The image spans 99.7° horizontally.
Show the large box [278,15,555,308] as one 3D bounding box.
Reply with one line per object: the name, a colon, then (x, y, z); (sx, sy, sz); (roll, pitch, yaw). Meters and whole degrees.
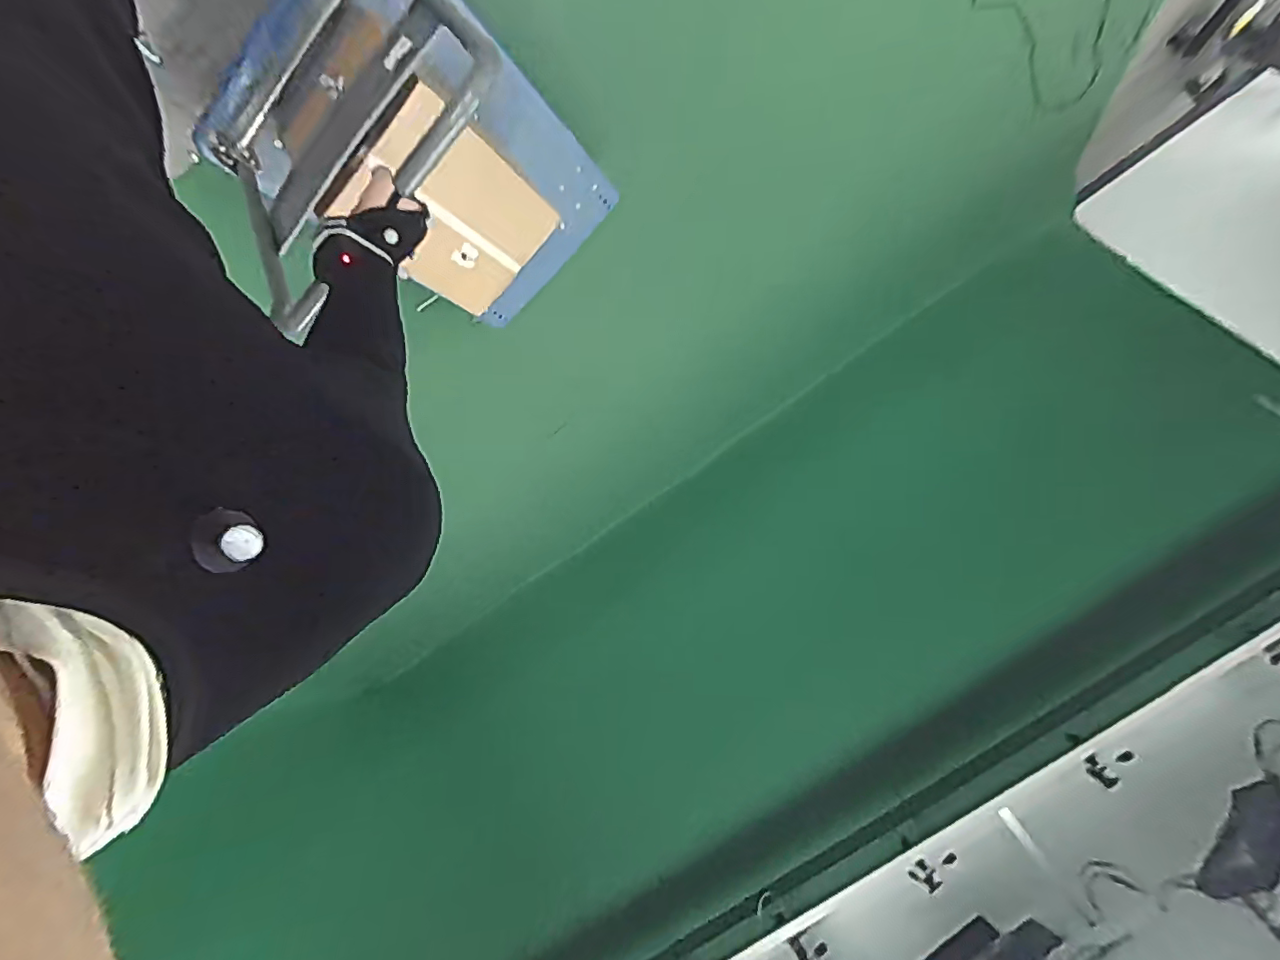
large box: (-0.474, -0.657, 1.178); (0.320, 0.320, 0.408); (-42, 155, 16)
